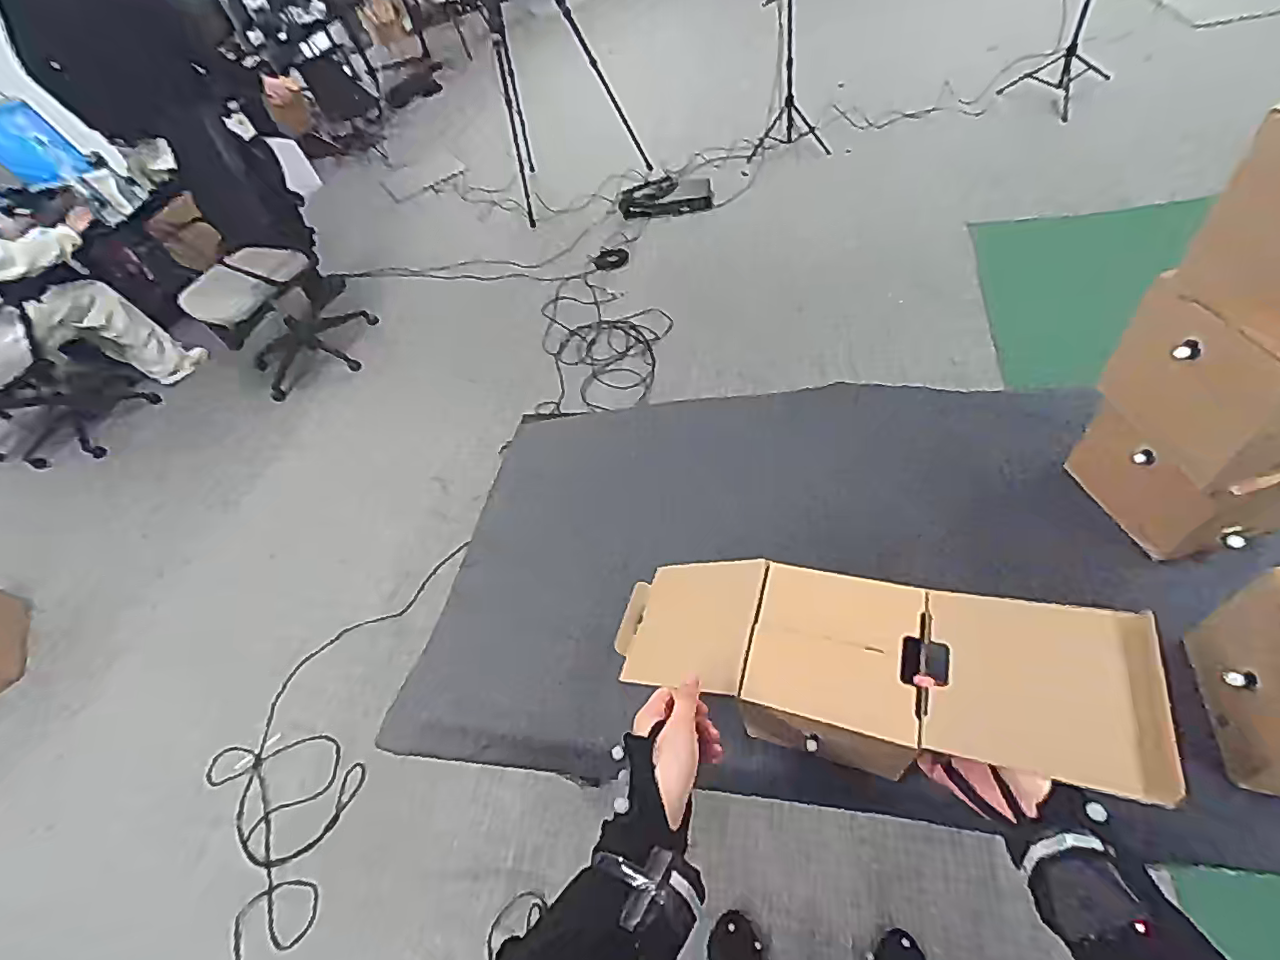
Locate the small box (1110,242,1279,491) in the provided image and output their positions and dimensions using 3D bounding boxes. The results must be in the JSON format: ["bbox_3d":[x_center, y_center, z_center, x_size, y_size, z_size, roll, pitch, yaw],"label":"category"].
[{"bbox_3d":[0.646,-0.118,0.554,0.168,0.176,0.179,-16,51,7],"label":"small box"}]

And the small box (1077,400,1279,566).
[{"bbox_3d":[0.707,-0.022,0.675,0.168,0.176,0.179,-19,52,4],"label":"small box"}]

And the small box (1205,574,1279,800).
[{"bbox_3d":[0.685,0.208,0.499,0.179,0.176,0.168,4,52,20],"label":"small box"}]

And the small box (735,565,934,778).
[{"bbox_3d":[0.223,0.223,0.622,0.179,0.176,0.168,8,56,24],"label":"small box"}]
